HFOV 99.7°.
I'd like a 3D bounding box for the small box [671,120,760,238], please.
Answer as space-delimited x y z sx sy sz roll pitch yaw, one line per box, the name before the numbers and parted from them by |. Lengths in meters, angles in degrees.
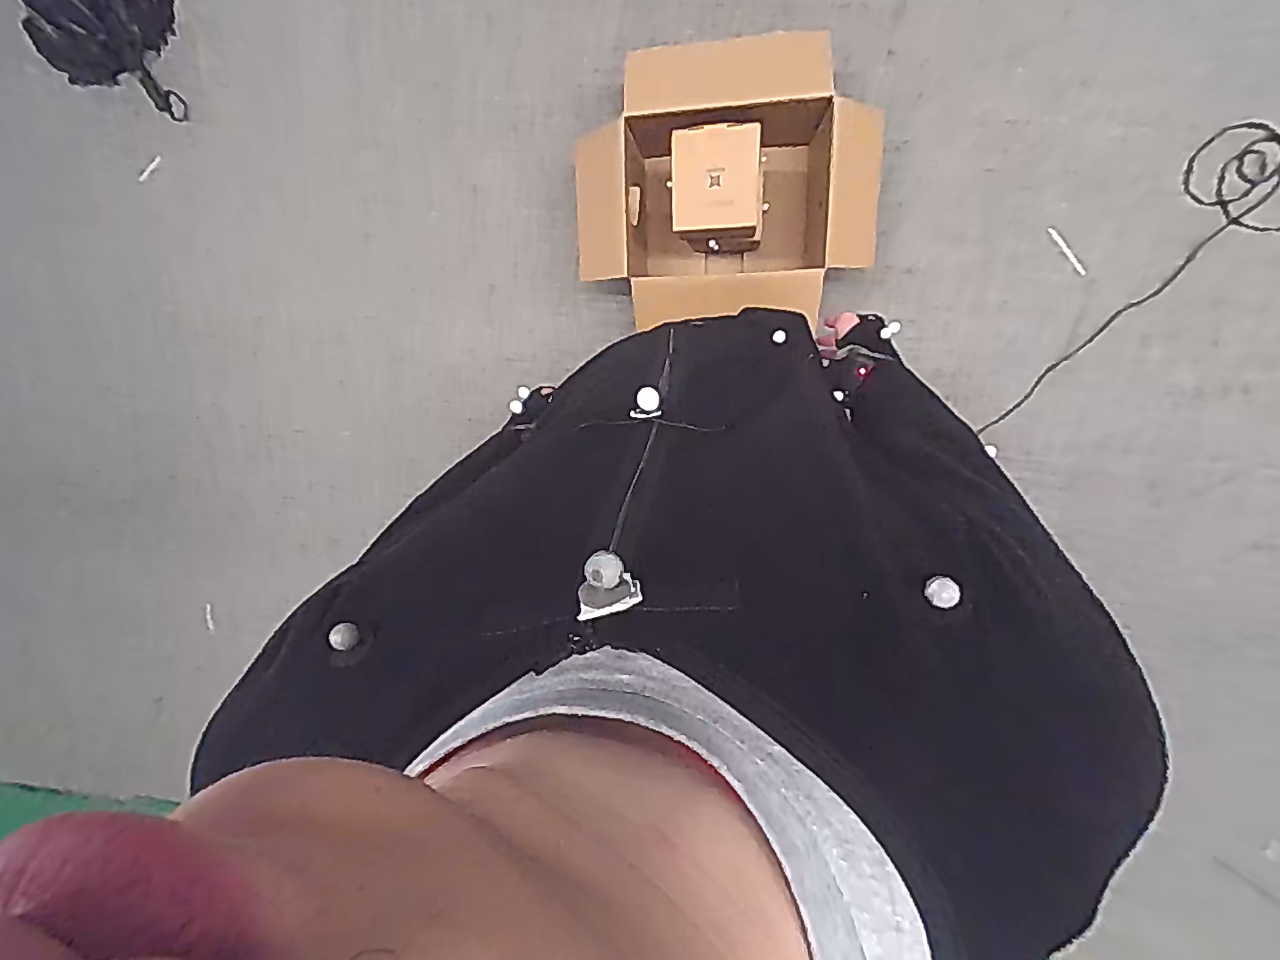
small box | 0.153 -0.599 1.097 0.168 0.176 0.179 1 108 10
